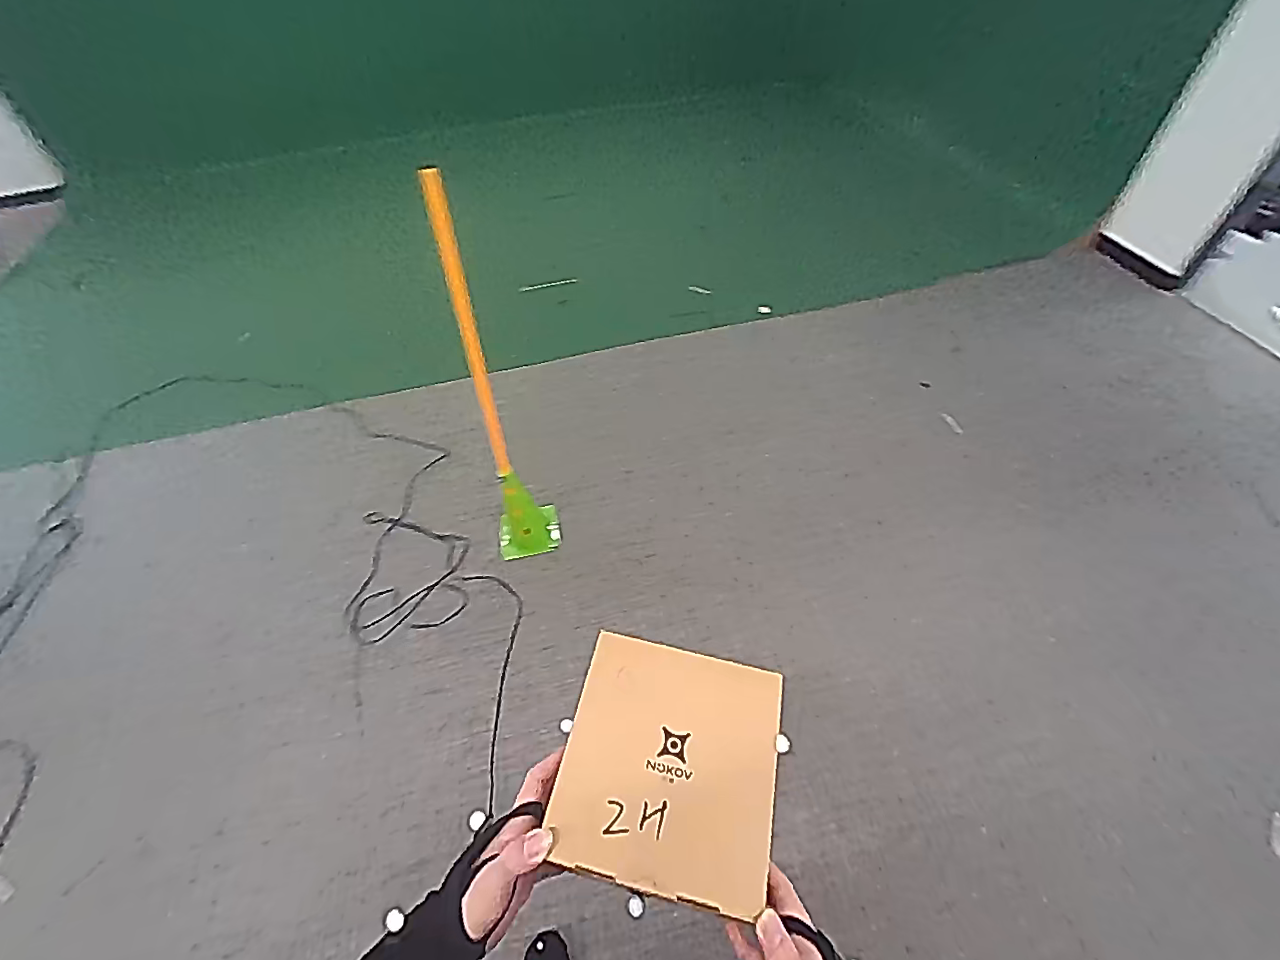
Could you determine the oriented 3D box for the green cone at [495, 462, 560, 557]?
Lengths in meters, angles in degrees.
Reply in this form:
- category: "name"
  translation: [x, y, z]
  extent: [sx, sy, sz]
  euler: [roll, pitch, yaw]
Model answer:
- category: "green cone"
  translation: [-0.406, 0.066, 1.800]
  extent: [0.202, 0.368, 0.200]
  euler: [-12, 51, -4]
